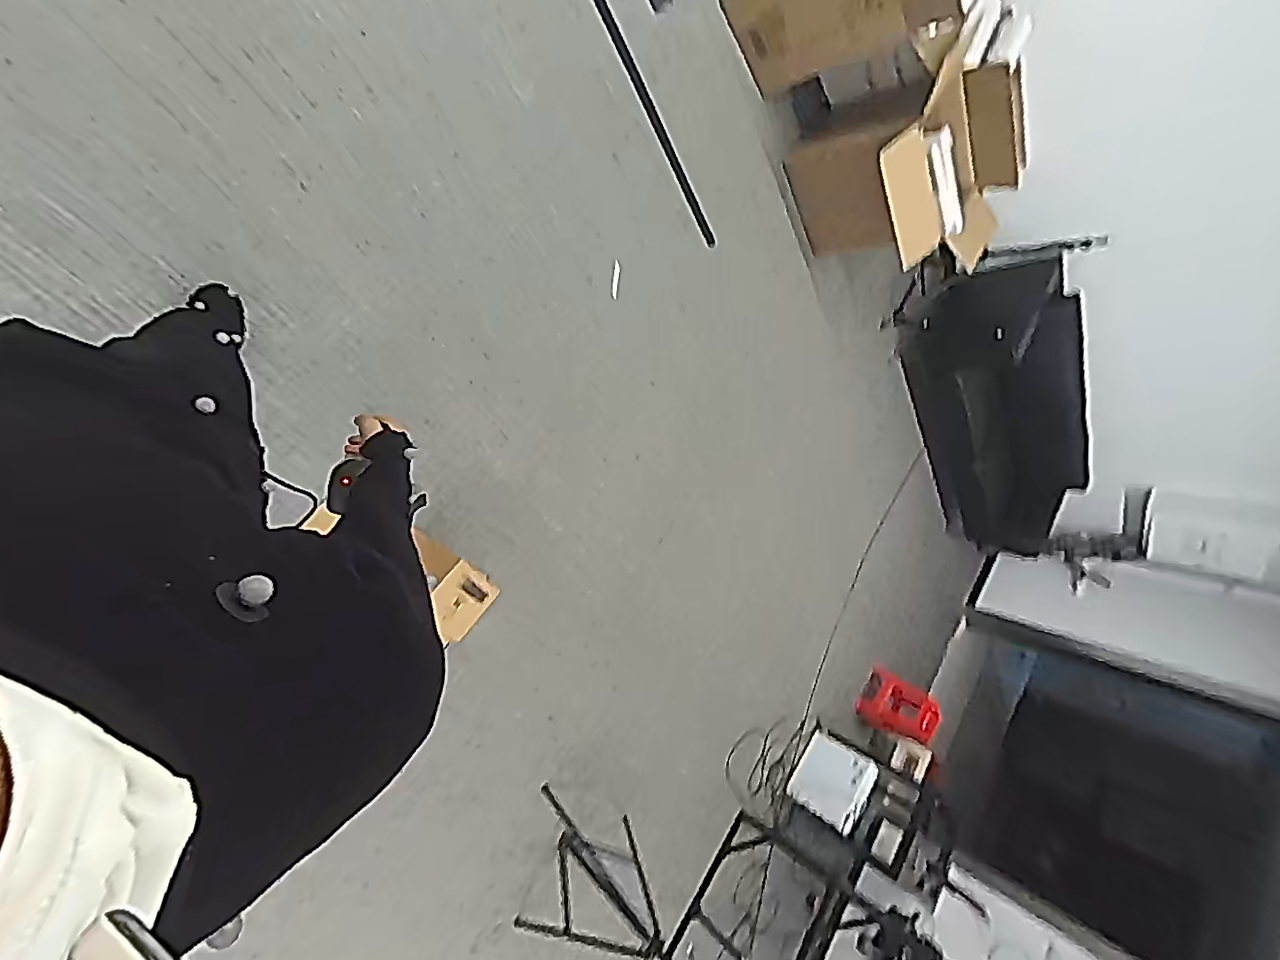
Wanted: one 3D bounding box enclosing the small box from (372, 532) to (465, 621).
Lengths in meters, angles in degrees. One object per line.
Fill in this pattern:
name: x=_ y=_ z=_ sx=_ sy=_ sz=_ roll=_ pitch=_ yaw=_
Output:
small box: x=-0.663 y=0.280 z=1.601 sx=0.179 sy=0.176 sz=0.168 roll=-53 pitch=130 yaw=-21
